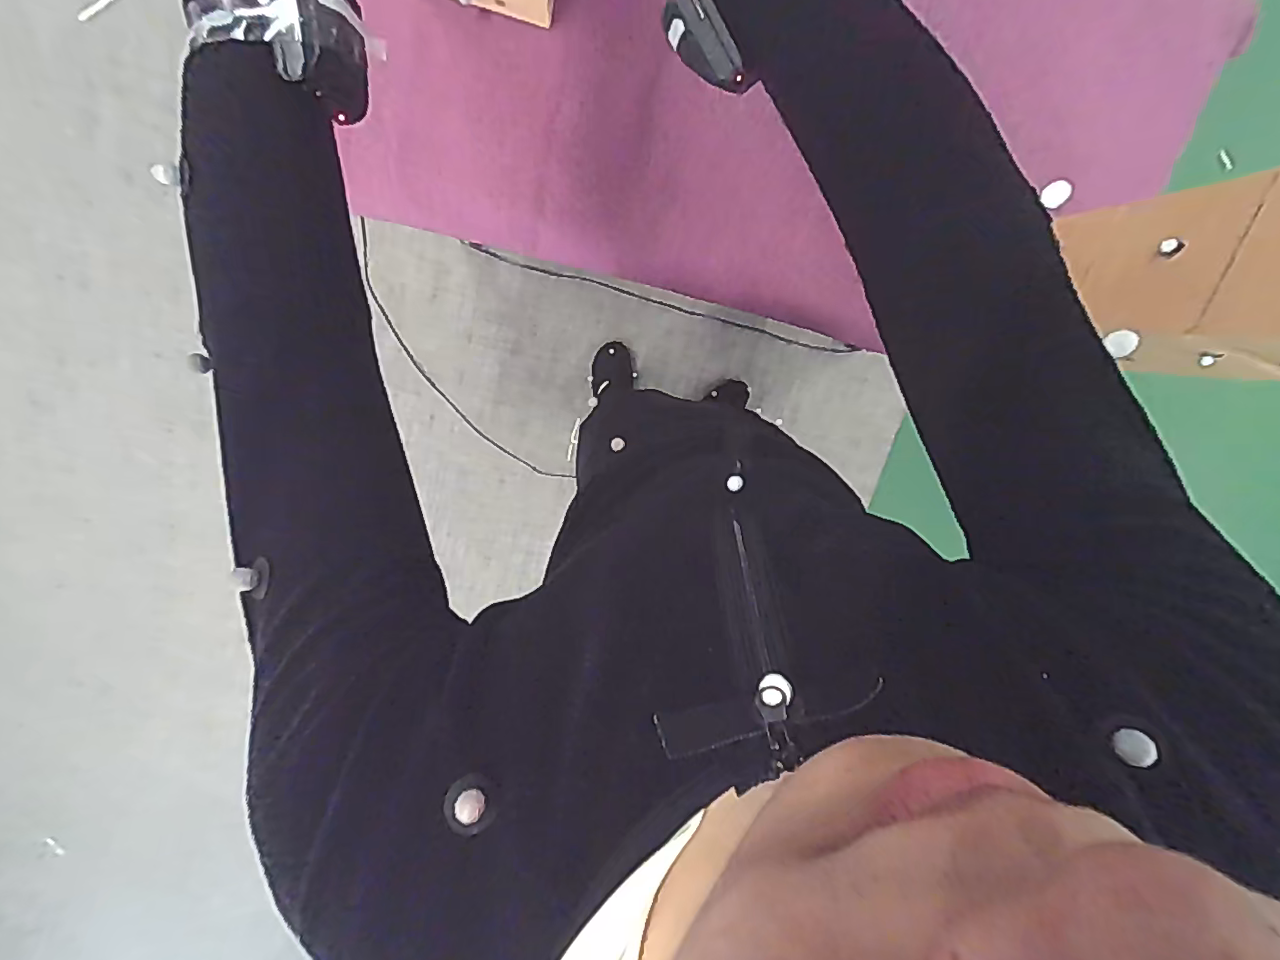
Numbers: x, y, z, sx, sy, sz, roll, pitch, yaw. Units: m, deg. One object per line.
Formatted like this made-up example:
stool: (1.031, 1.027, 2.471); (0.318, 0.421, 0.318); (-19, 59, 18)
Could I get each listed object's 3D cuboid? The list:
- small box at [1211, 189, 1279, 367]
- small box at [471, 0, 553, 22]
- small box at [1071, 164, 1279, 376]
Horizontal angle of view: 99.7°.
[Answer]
small box: (0.700, -0.196, 0.490); (0.168, 0.176, 0.179); (15, 103, -10)
small box: (-0.167, -0.660, 0.586); (0.168, 0.176, 0.179); (10, 106, -10)
small box: (0.680, -0.237, 0.649); (0.168, 0.176, 0.179); (16, 102, -10)
